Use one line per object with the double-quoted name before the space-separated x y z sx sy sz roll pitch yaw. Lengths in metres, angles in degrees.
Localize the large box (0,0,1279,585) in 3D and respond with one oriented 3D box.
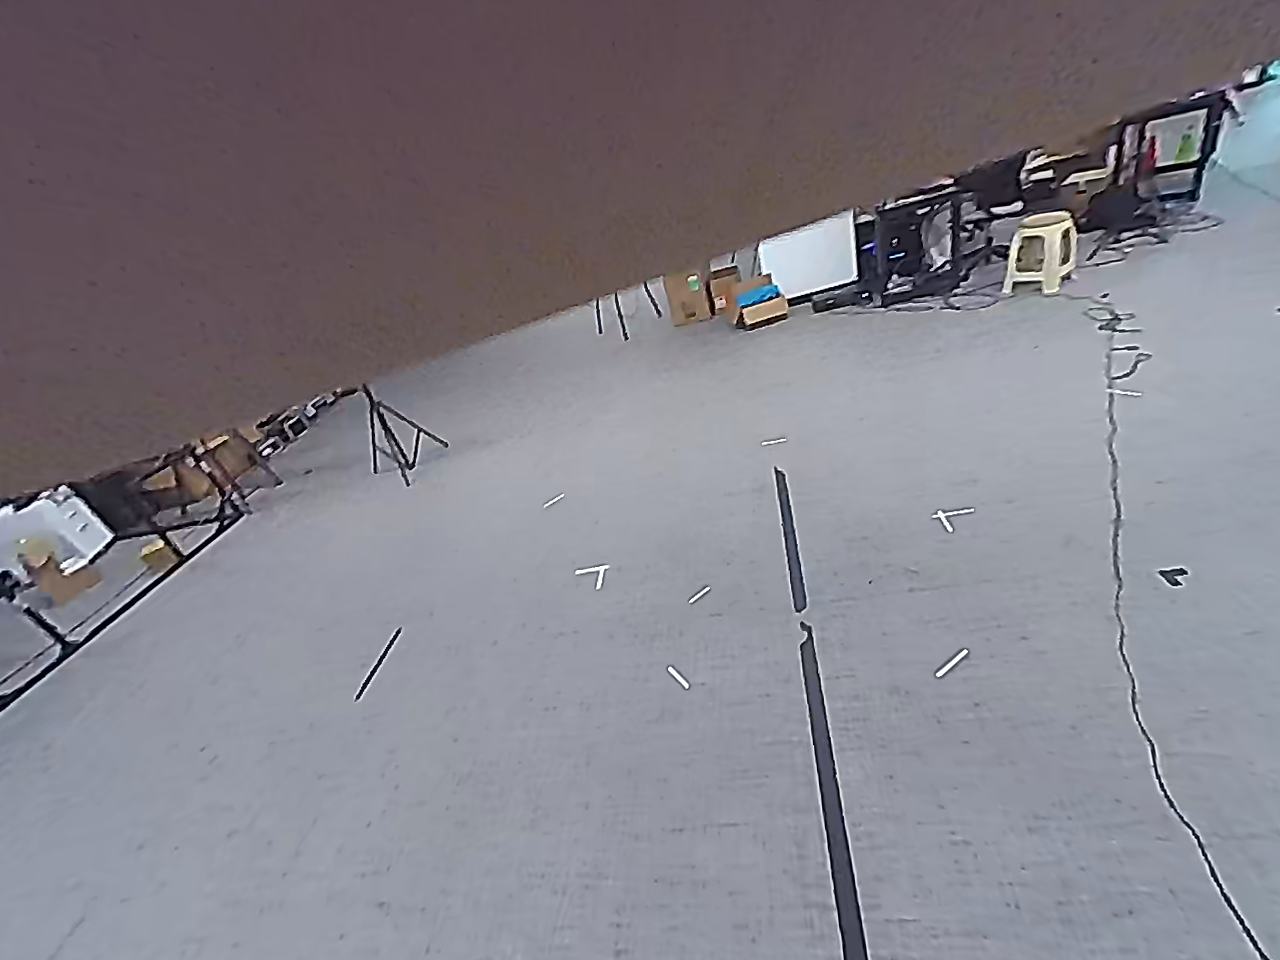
"large box" -0.043 -0.170 0.028 0.408 0.320 0.320 -18 4 2
